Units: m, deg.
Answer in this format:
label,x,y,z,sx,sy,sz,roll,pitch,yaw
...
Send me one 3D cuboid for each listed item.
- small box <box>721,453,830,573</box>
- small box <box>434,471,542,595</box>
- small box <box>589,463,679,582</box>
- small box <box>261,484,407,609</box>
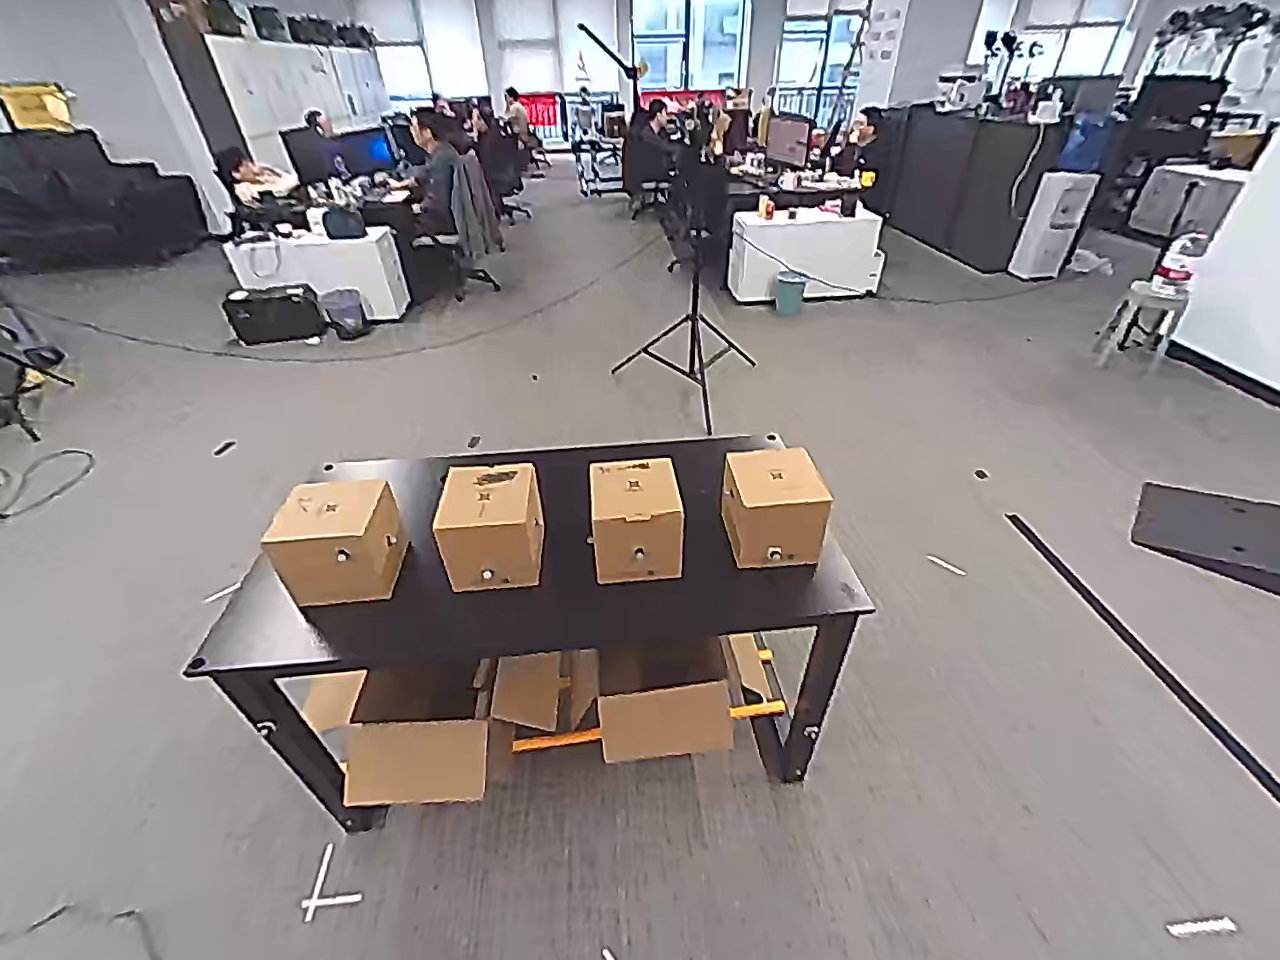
label,x,y,z,sx,sy,sz,roll,pitch,yaw
small box,0.263,0.066,1.099,0.168,0.176,0.179,-5,37,-2
small box,-0.288,0.103,1.068,0.168,0.176,0.179,-4,37,-3
small box,-0.013,0.089,1.077,0.168,0.176,0.179,-4,37,-3
small box,-0.571,0.128,1.041,0.179,0.176,0.168,-4,36,-5
